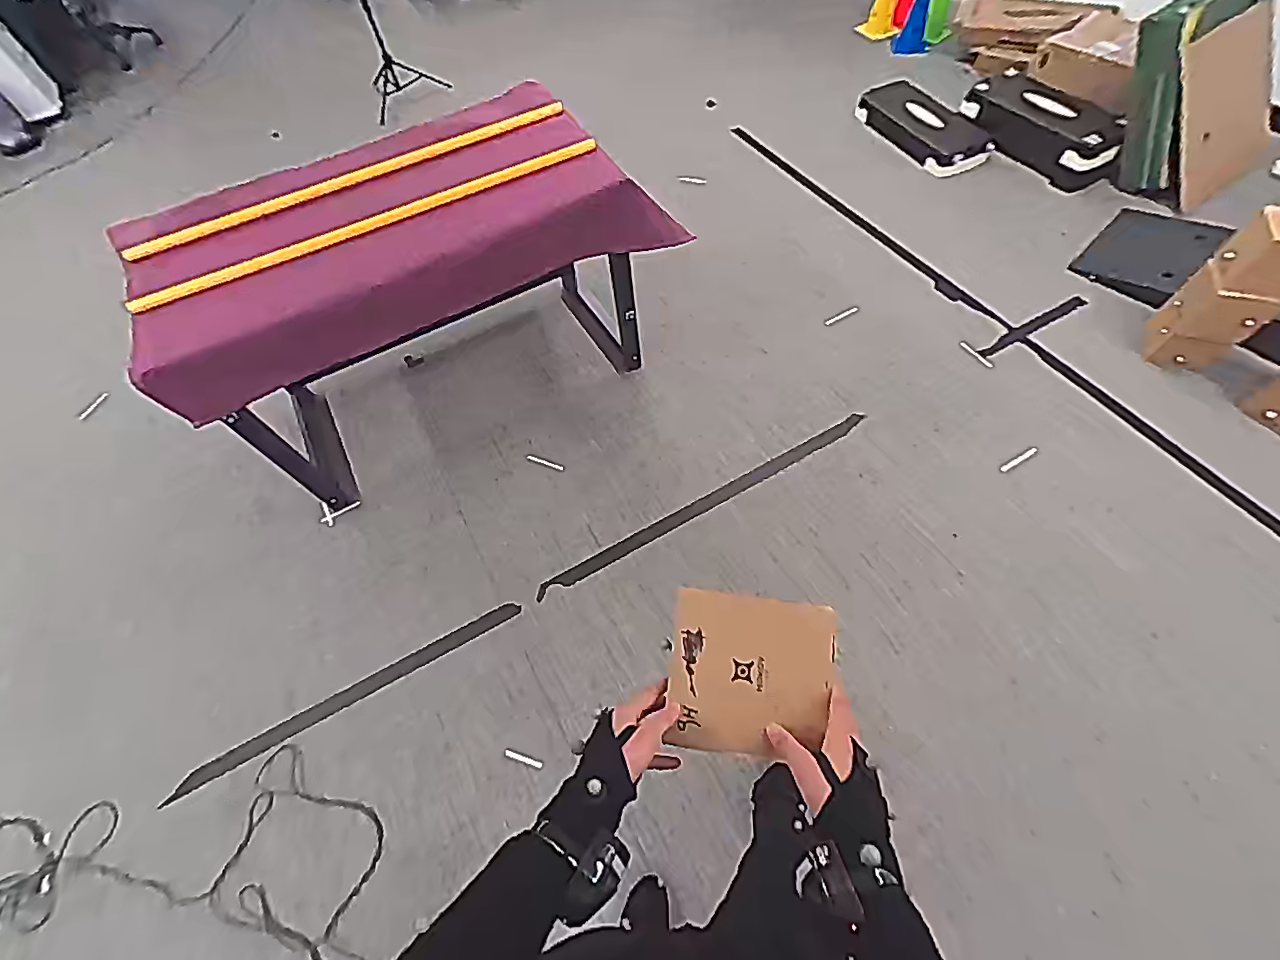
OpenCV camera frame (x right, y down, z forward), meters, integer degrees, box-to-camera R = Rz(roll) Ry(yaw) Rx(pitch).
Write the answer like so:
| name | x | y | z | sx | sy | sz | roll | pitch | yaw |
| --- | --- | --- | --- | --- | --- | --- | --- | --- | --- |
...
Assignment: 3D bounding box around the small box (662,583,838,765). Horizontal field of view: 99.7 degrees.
| name | x | y | z | sx | sy | sz | roll | pitch | yaw |
| --- | --- | --- | --- | --- | --- | --- | --- | --- | --- |
| small box | 0.123 | 0.224 | 0.652 | 0.179 | 0.176 | 0.168 | 7 | 74 | 5 |
